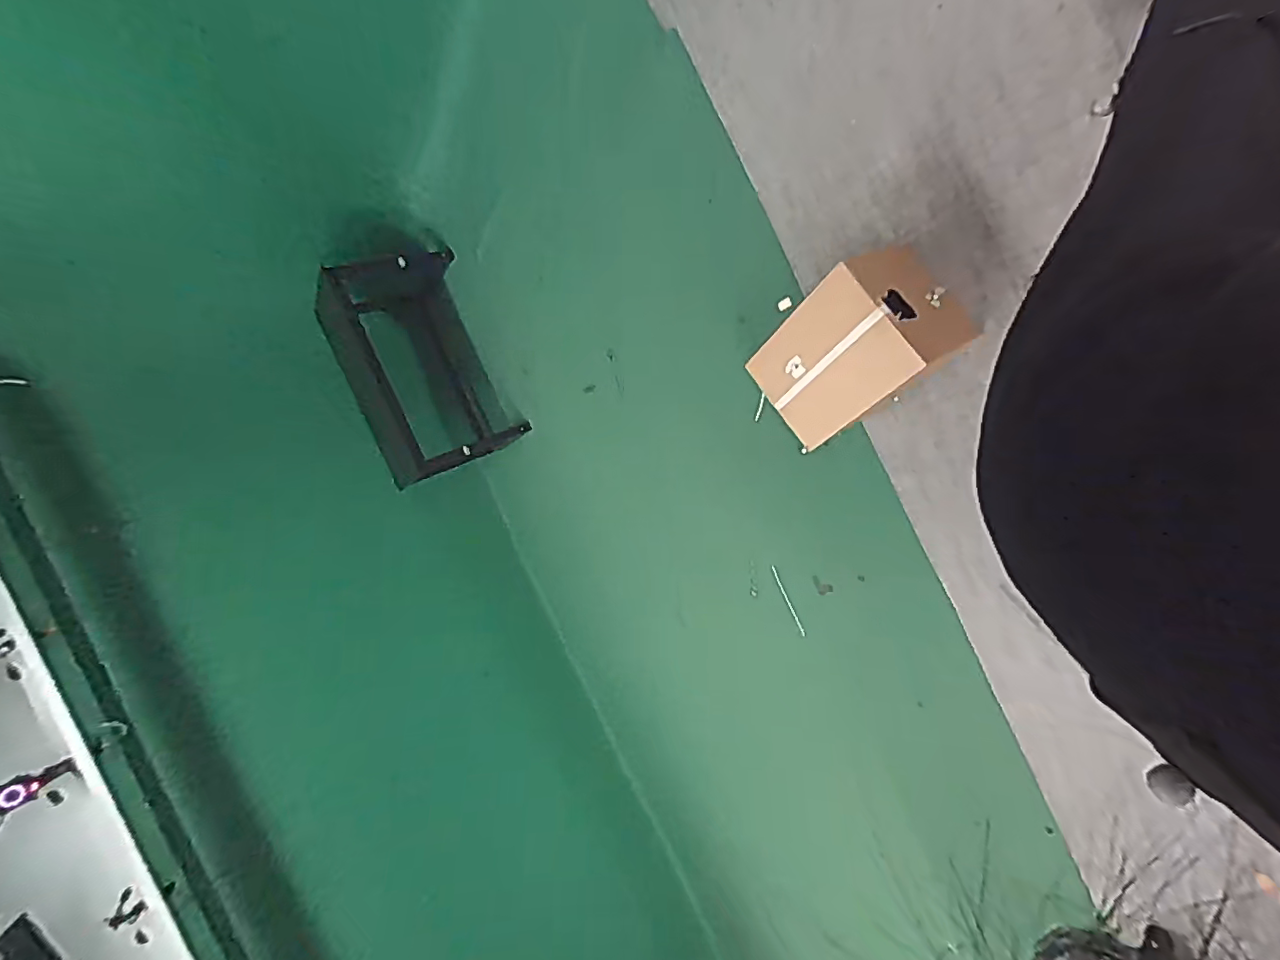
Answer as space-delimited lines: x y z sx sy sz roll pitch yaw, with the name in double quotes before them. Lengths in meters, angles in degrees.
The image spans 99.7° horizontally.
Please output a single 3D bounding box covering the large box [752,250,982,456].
"large box" 0.587 -0.333 1.444 0.320 0.320 0.408 57 146 11
